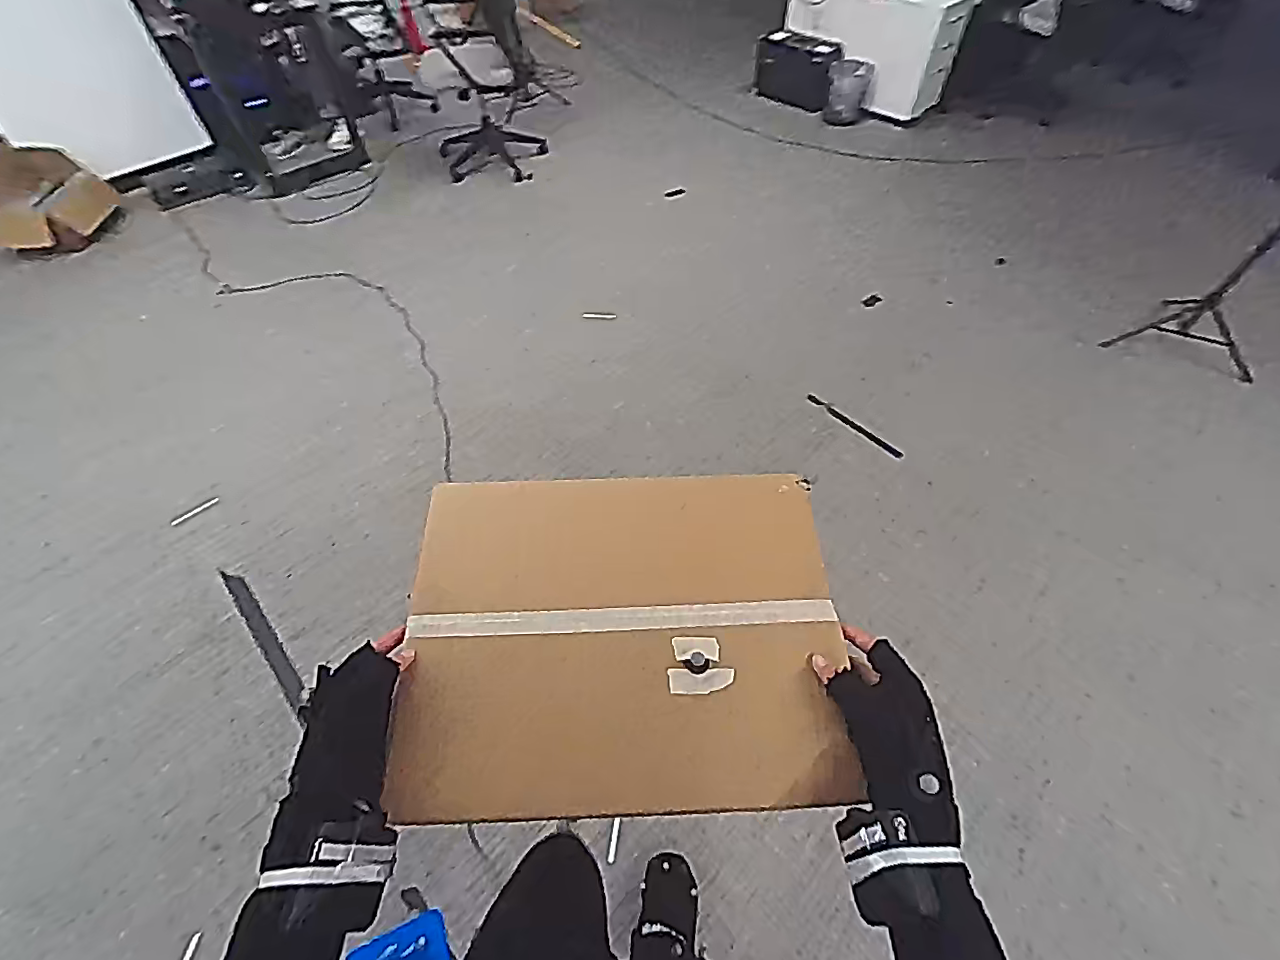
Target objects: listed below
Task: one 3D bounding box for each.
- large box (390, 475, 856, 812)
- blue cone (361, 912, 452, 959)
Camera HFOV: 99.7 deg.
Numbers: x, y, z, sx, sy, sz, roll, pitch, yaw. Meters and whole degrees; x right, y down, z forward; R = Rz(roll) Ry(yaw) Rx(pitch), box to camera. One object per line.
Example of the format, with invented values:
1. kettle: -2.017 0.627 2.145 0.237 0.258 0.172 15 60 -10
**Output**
1. large box: -0.022 0.210 0.656 0.408 0.320 0.320 -2 59 -2
2. blue cone: -0.472 0.914 0.956 0.193 0.380 0.192 -18 56 -11
